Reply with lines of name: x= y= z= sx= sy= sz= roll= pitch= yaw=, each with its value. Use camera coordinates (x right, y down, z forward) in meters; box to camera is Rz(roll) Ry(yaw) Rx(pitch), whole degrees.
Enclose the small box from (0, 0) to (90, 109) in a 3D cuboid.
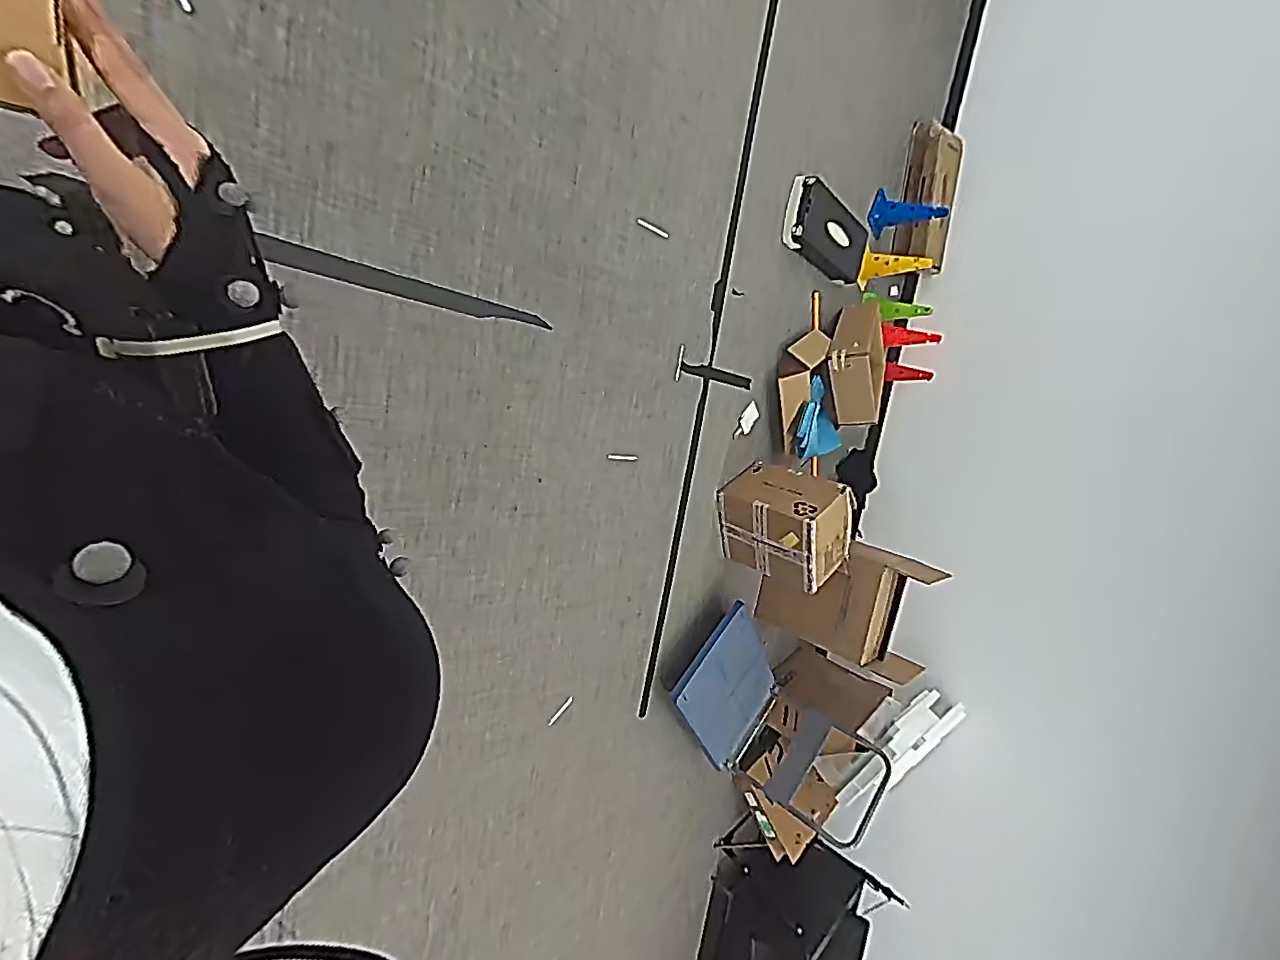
small box: x=-0.375 y=-0.287 z=0.238 sx=0.179 sy=0.176 sz=0.168 roll=-3 pitch=117 yaw=-43
